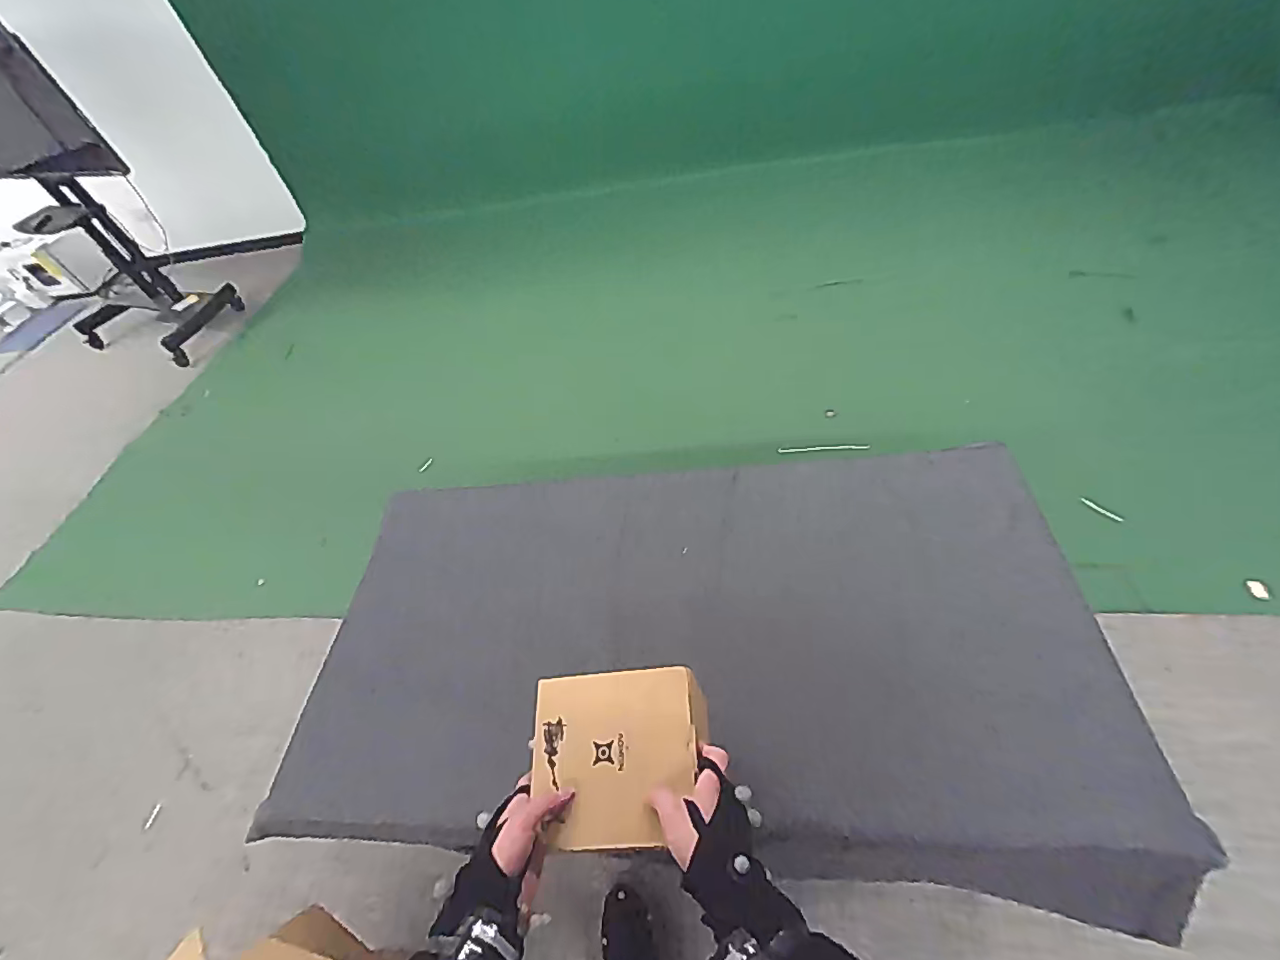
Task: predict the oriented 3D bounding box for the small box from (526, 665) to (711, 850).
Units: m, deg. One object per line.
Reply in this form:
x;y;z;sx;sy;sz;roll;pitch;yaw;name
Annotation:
-0.012;0.321;0.619;0.179;0.176;0.168;-7;54;8;small box
